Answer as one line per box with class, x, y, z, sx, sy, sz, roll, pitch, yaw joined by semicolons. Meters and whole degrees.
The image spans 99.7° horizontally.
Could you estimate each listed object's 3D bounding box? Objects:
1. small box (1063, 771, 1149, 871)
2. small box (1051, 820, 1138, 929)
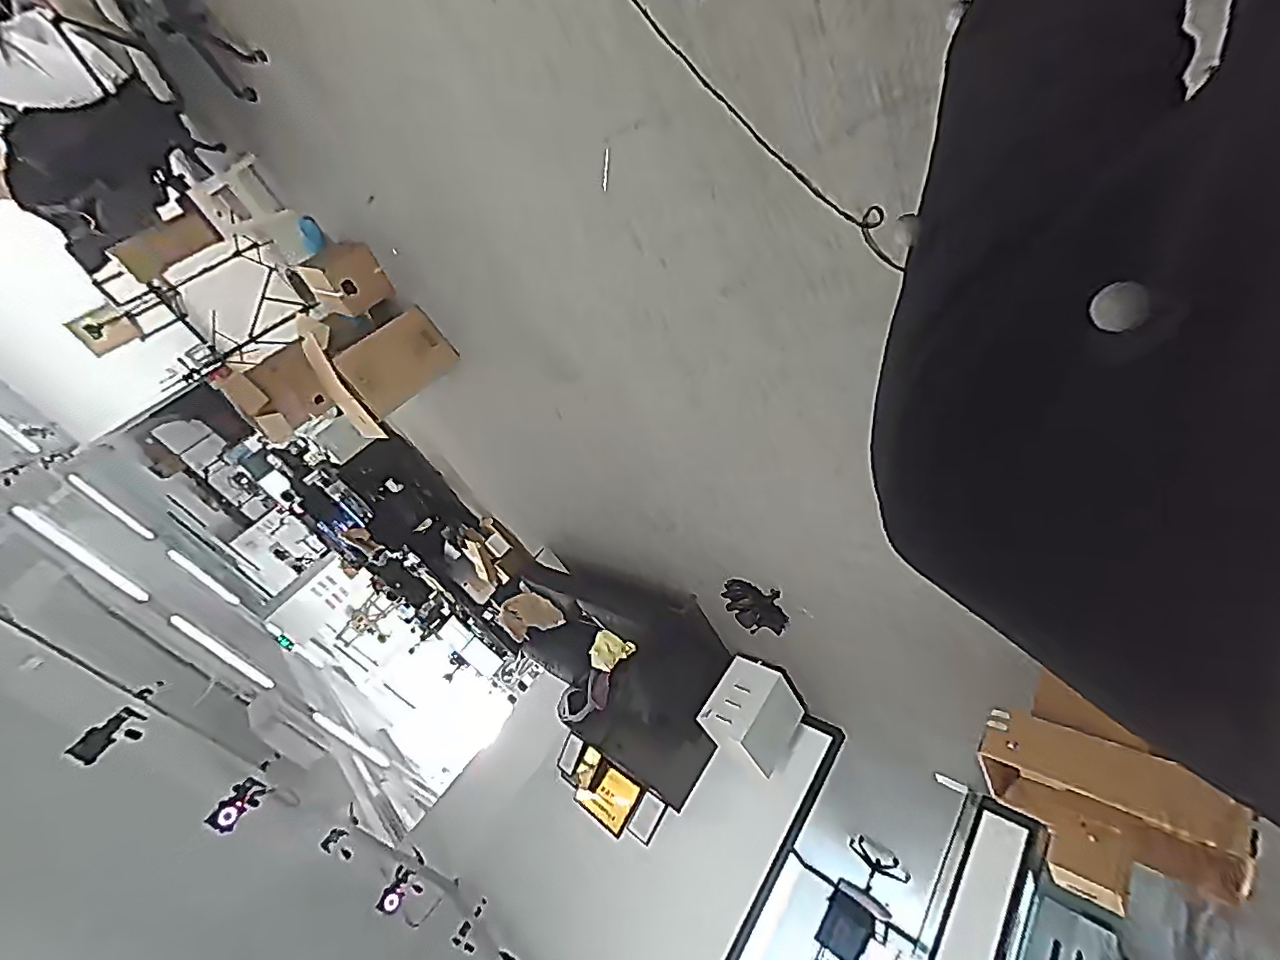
small box;1.433;1.038;1.658;0.168;0.176;0.179;1;133;51
small box;1.337;1.151;1.587;0.168;0.176;0.179;3;134;49
